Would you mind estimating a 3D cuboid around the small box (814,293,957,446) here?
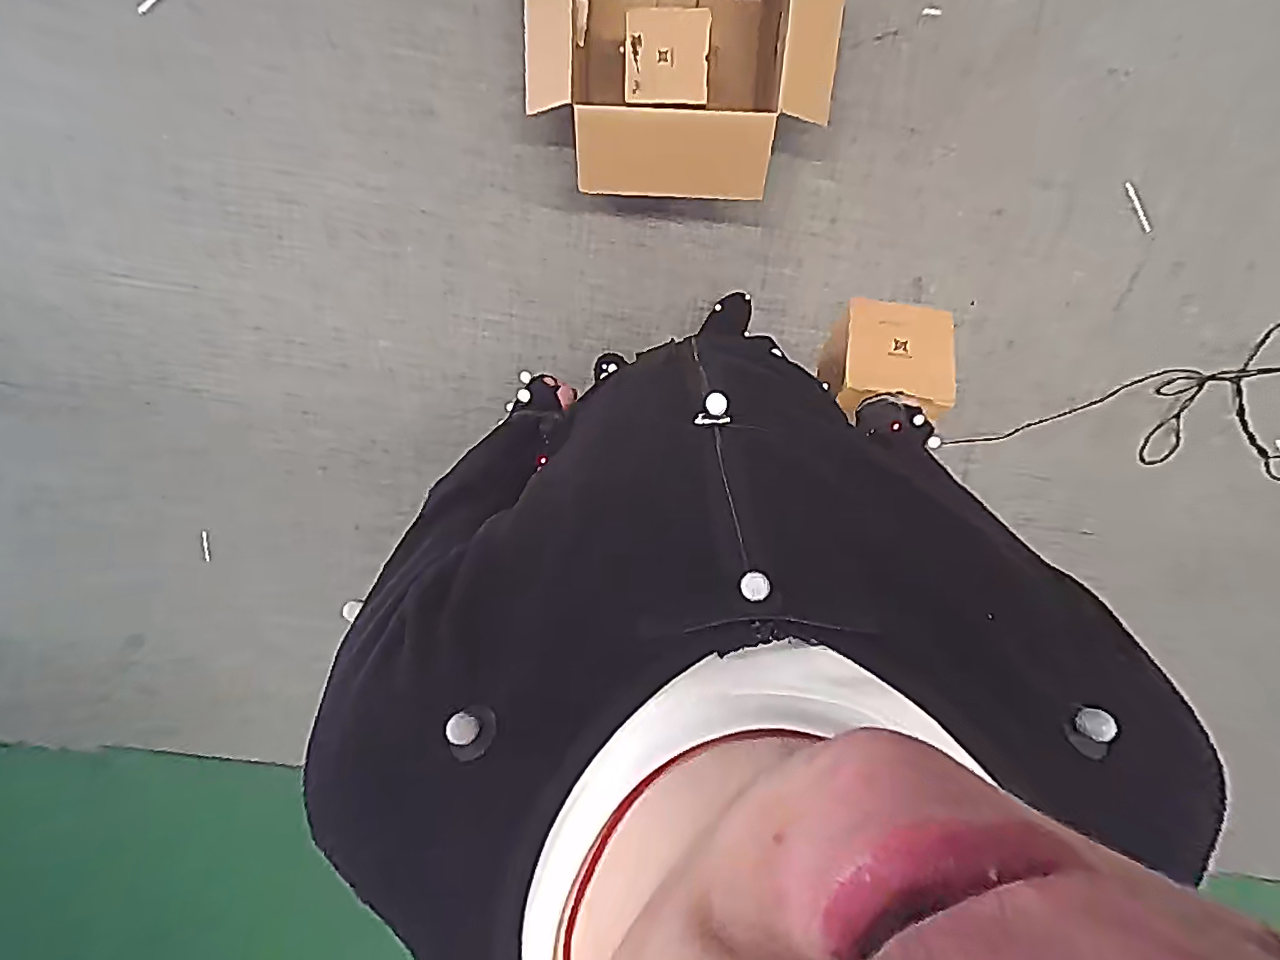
[{"bbox_3d":[0.399,-0.176,0.899,0.168,0.176,0.179,11,66,3],"label":"small box"}]
